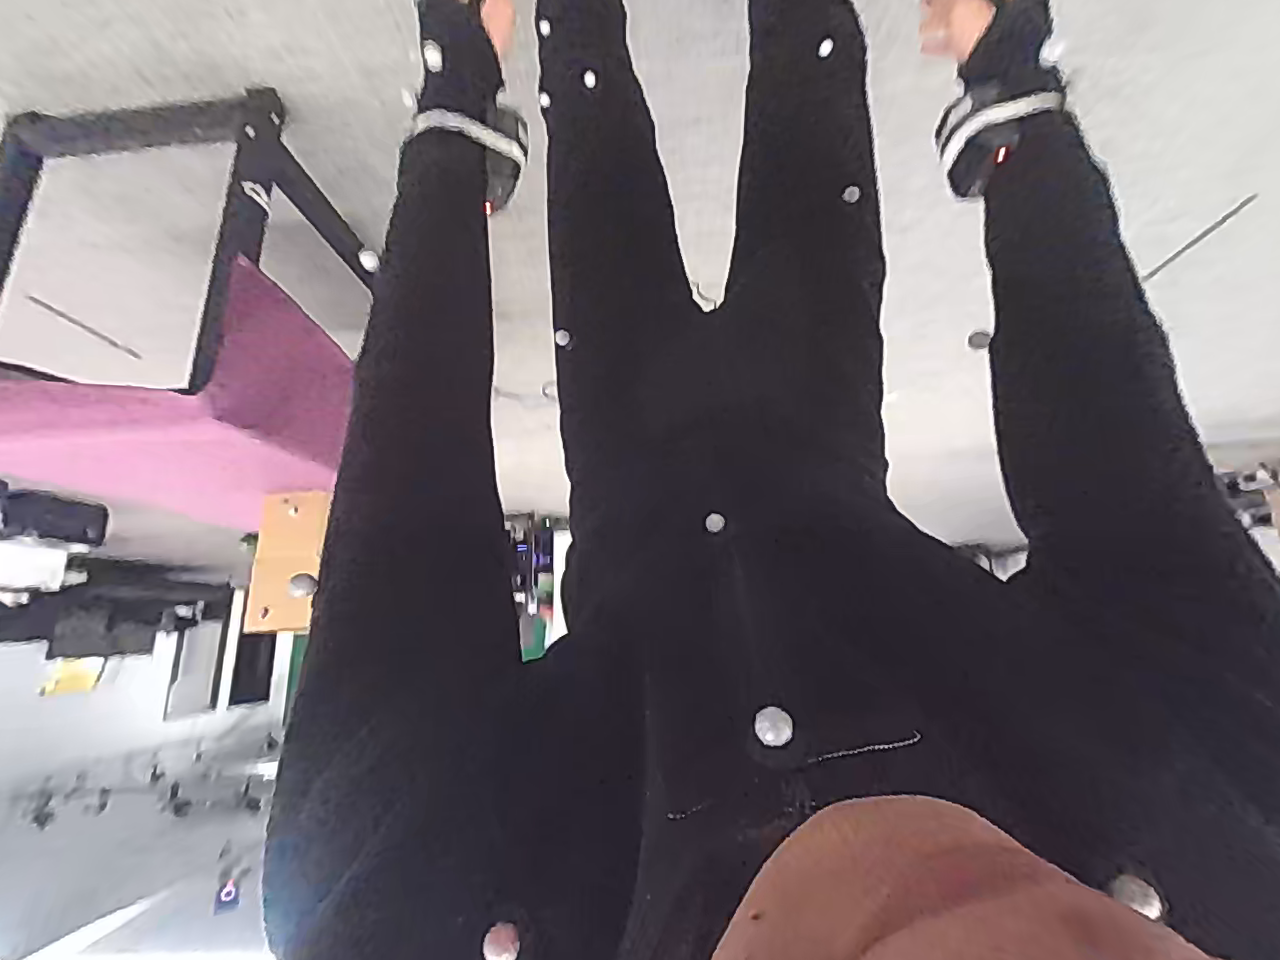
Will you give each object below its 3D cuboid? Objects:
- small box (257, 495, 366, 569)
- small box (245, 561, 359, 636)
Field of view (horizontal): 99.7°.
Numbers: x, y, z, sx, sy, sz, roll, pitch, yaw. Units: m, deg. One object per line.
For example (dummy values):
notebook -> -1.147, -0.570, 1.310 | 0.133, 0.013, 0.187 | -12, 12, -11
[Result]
small box -> -0.834, 0.139, 1.391 | 0.168, 0.176, 0.179 | -5, 163, 6
small box -> -0.830, 0.297, 1.346 | 0.179, 0.176, 0.168 | -3, 164, 1
